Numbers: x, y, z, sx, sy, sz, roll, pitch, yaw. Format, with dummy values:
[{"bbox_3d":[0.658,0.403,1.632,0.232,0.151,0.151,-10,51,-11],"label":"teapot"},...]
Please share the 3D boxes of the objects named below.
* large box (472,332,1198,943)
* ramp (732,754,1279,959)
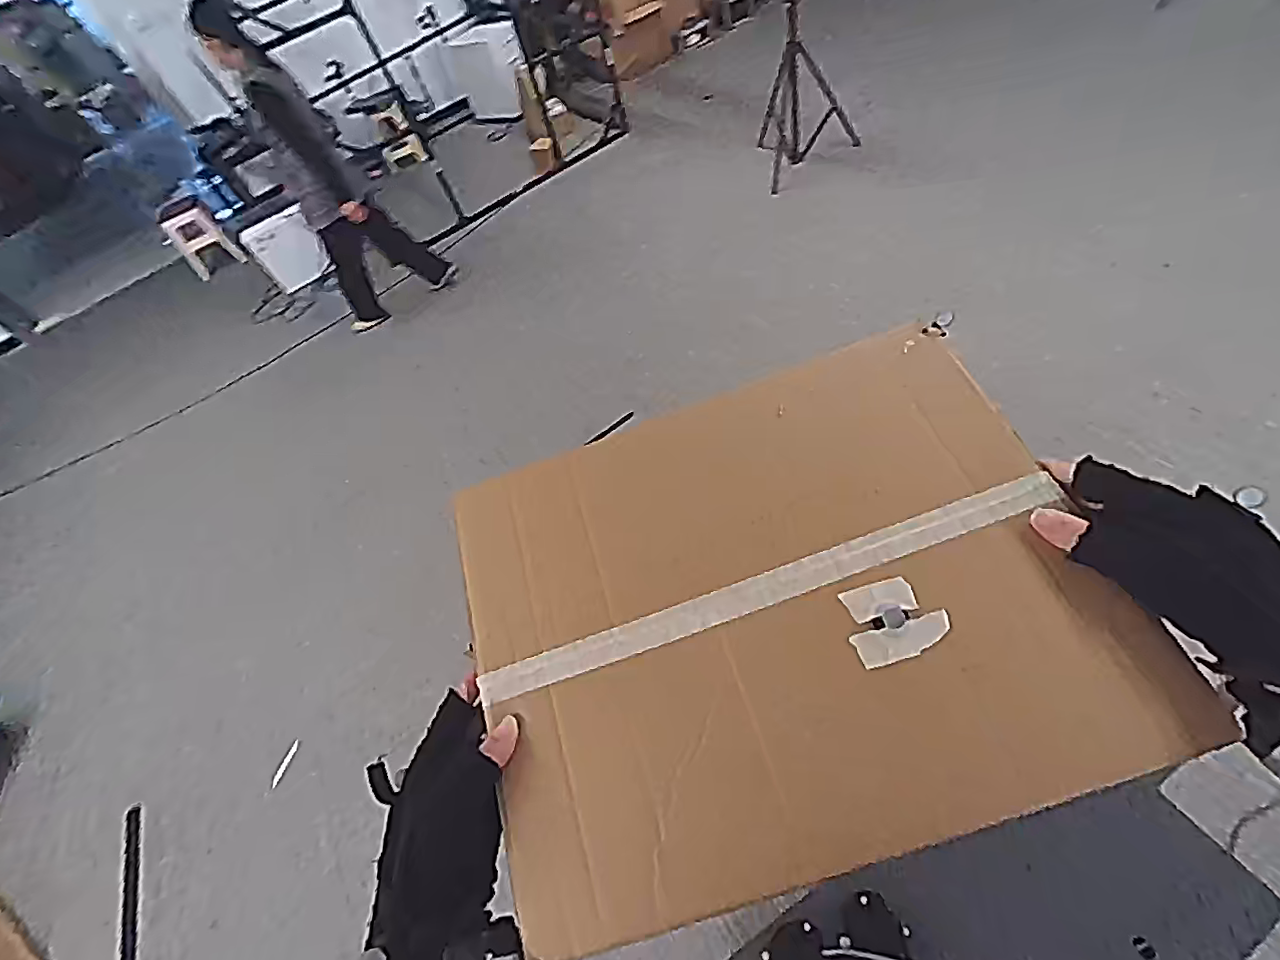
[{"bbox_3d":[0.114,0.138,0.509,0.408,0.320,0.320,-20,64,2],"label":"large box"},{"bbox_3d":[0.703,0.900,1.063,0.991,0.206,0.509,-35,50,-10],"label":"ramp"}]
